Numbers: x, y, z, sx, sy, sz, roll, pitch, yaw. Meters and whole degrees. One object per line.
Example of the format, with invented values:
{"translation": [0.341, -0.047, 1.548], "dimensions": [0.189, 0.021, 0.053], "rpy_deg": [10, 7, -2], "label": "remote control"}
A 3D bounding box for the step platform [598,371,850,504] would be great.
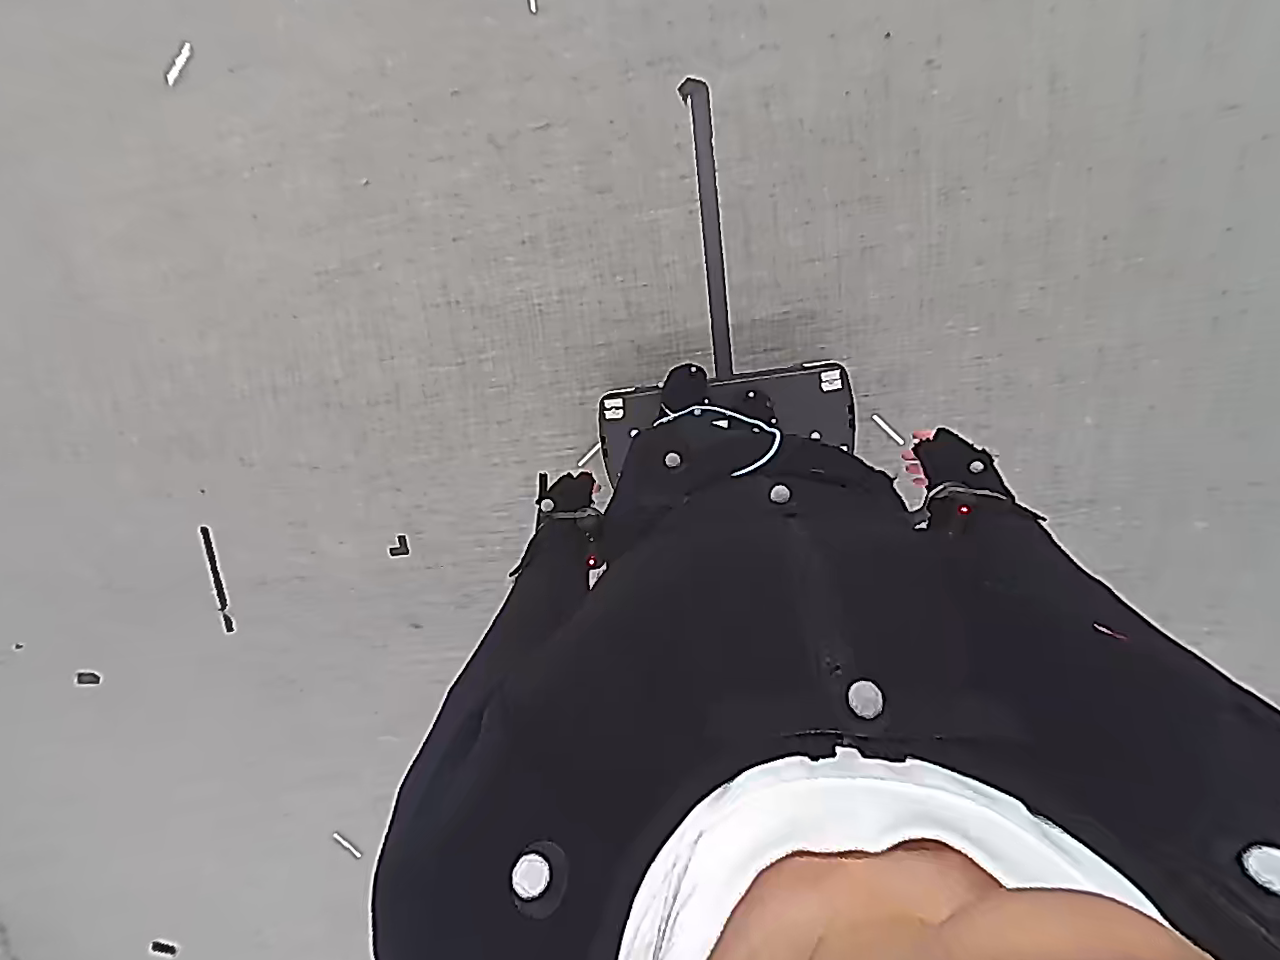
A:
{"translation": [0.224, -0.117, 1.519], "dimensions": [0.684, 0.204, 0.286], "rpy_deg": [-8, 101, 8], "label": "step platform"}
